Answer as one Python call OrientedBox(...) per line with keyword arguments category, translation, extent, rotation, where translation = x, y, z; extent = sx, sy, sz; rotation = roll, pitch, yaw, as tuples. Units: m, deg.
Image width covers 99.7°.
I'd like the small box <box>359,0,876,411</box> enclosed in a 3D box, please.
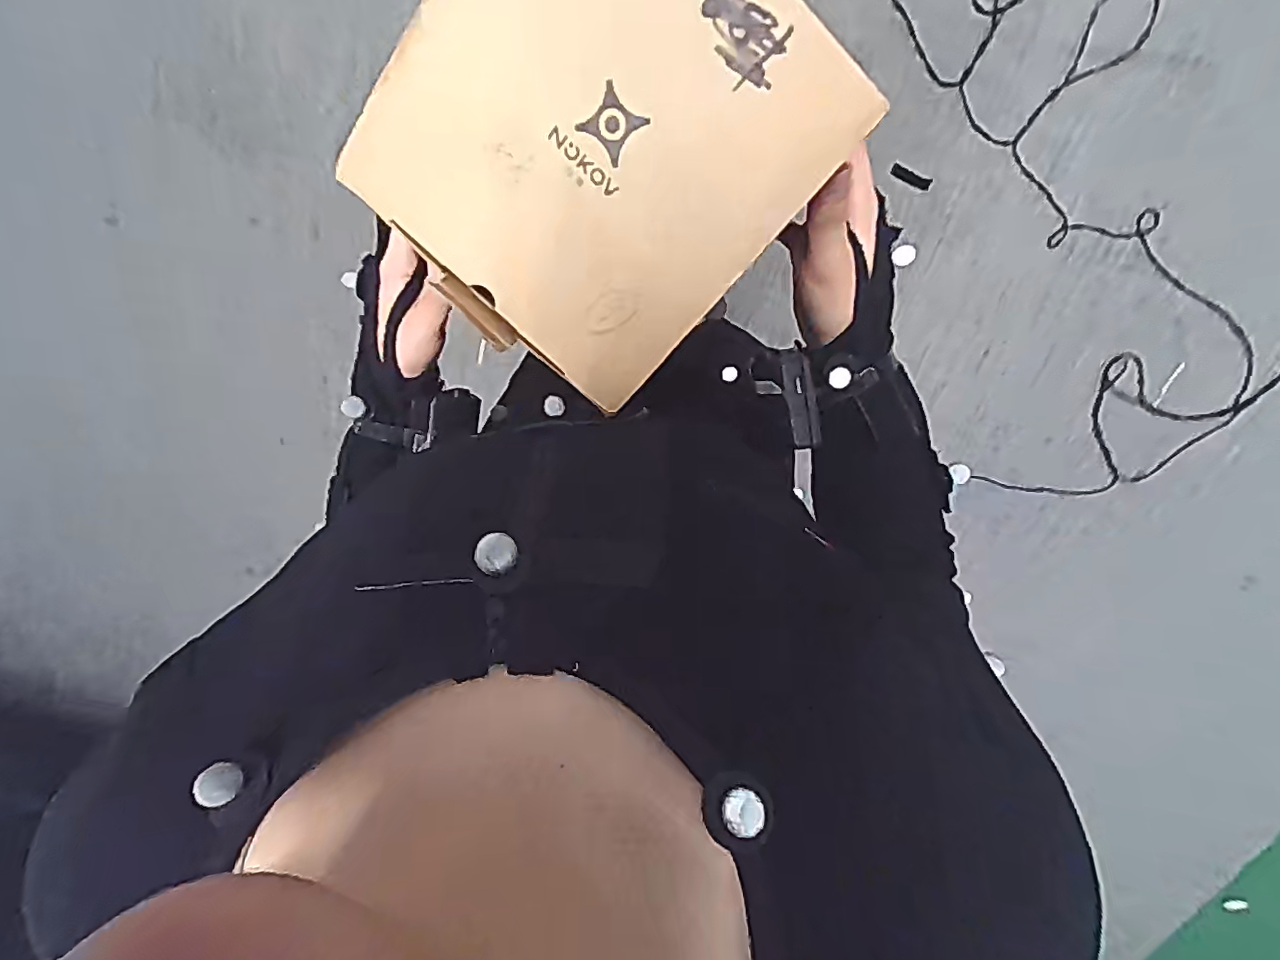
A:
OrientedBox(category="small box", translation=(-0.008, -0.172, 0.310), extent=(0.168, 0.176, 0.179), rotation=(41, 110, -12))
